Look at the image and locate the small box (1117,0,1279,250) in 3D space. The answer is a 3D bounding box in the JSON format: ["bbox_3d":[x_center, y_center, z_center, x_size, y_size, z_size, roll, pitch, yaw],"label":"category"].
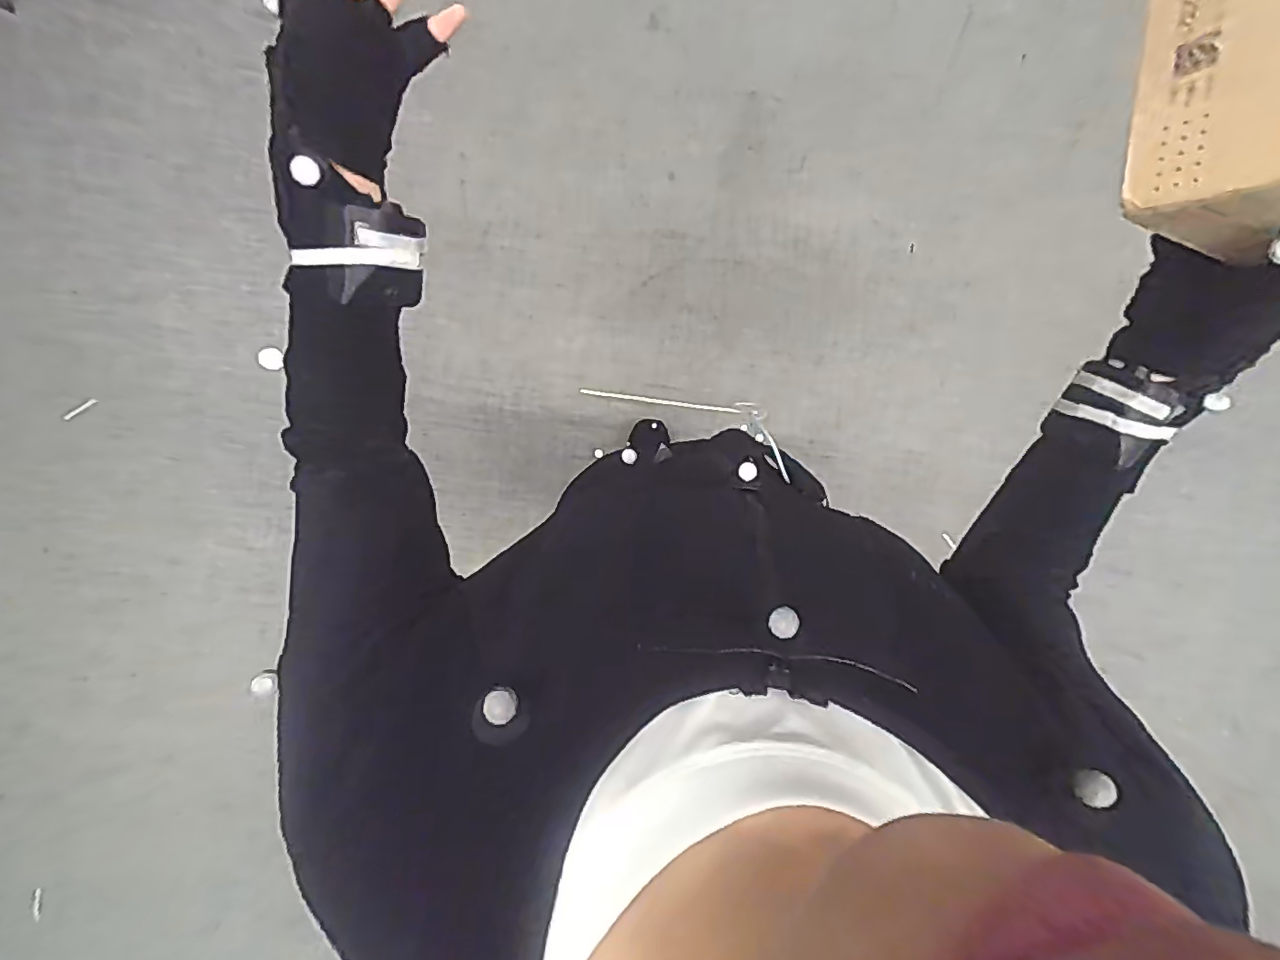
[{"bbox_3d":[0.336,-0.201,0.214,0.179,0.176,0.168,-5,100,-30],"label":"small box"}]
